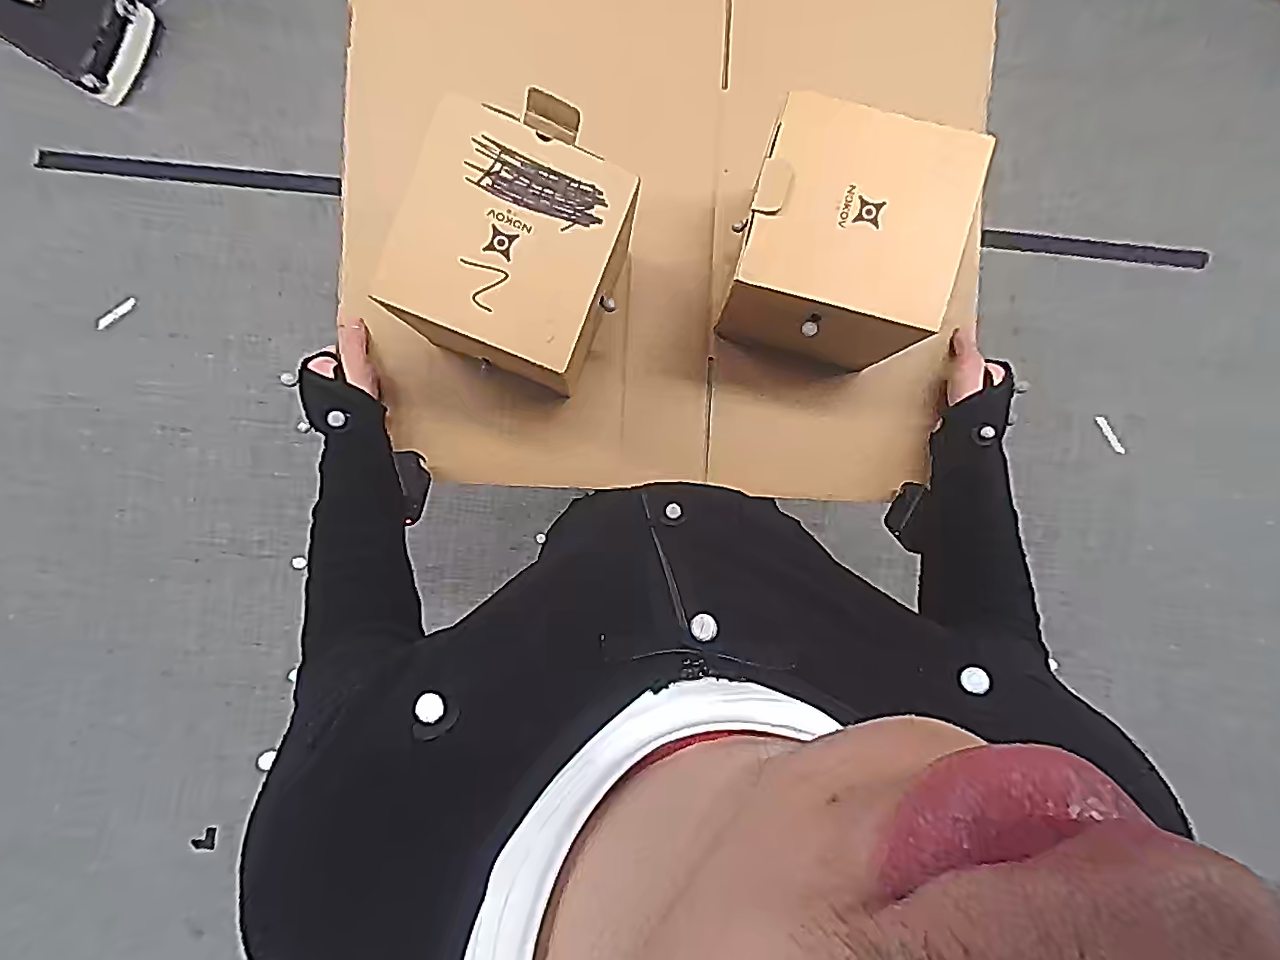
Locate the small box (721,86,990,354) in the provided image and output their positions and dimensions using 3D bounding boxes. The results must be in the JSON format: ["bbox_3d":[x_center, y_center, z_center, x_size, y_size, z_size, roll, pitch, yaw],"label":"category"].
[{"bbox_3d":[0.191,-0.233,0.535,0.179,0.176,0.168,15,92,2],"label":"small box"}]
